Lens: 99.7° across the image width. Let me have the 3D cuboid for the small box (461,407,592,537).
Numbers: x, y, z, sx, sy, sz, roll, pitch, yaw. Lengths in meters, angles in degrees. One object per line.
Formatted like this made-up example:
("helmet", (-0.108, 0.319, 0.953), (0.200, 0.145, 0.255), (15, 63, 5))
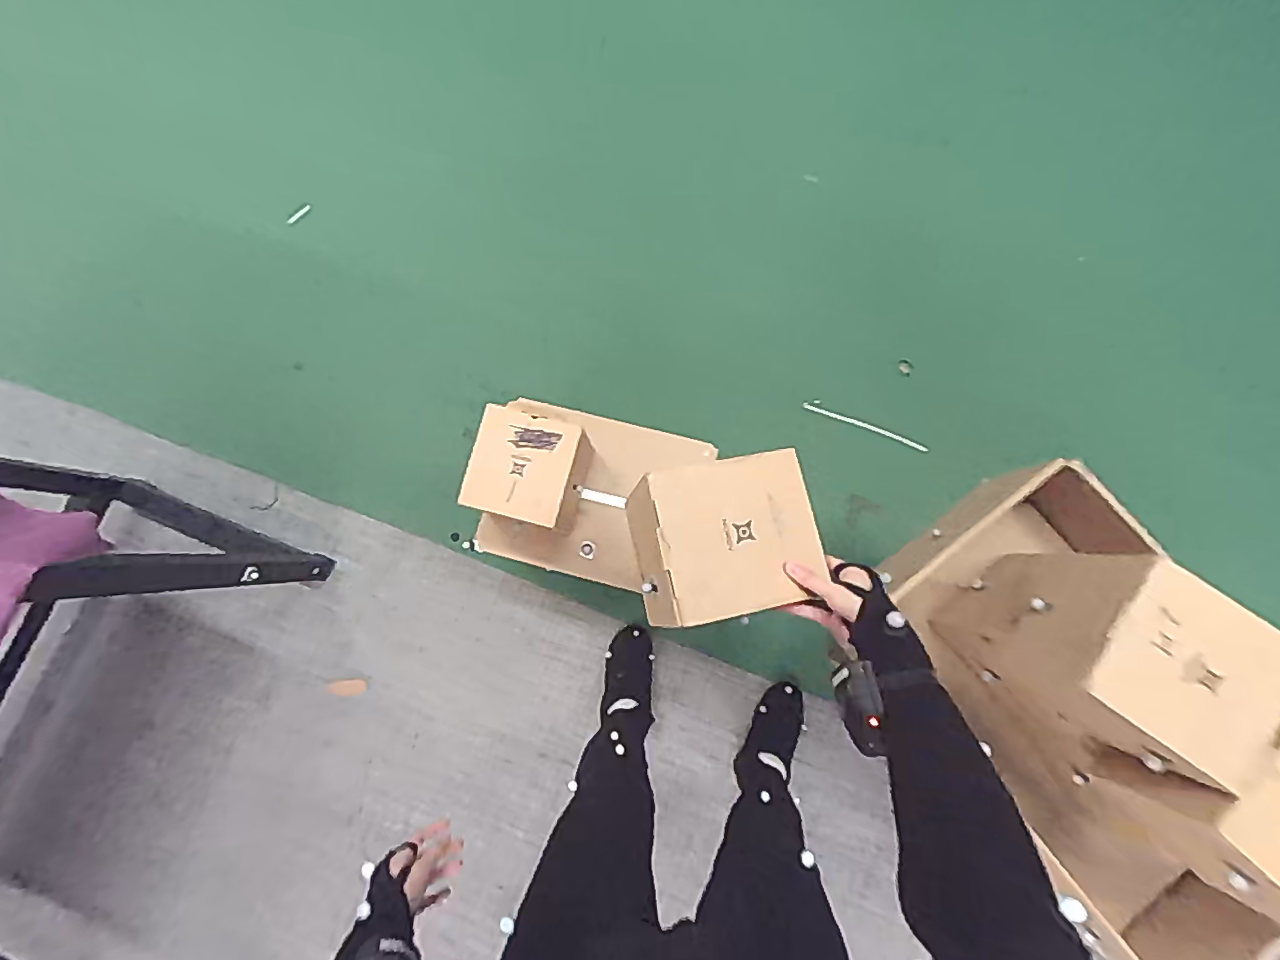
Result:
("small box", (-0.187, -0.006, 0.955), (0.168, 0.176, 0.179), (14, 81, 5))

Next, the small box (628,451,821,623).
("small box", (0.086, 0.078, 0.662), (0.179, 0.176, 0.168), (-9, 76, -12))
